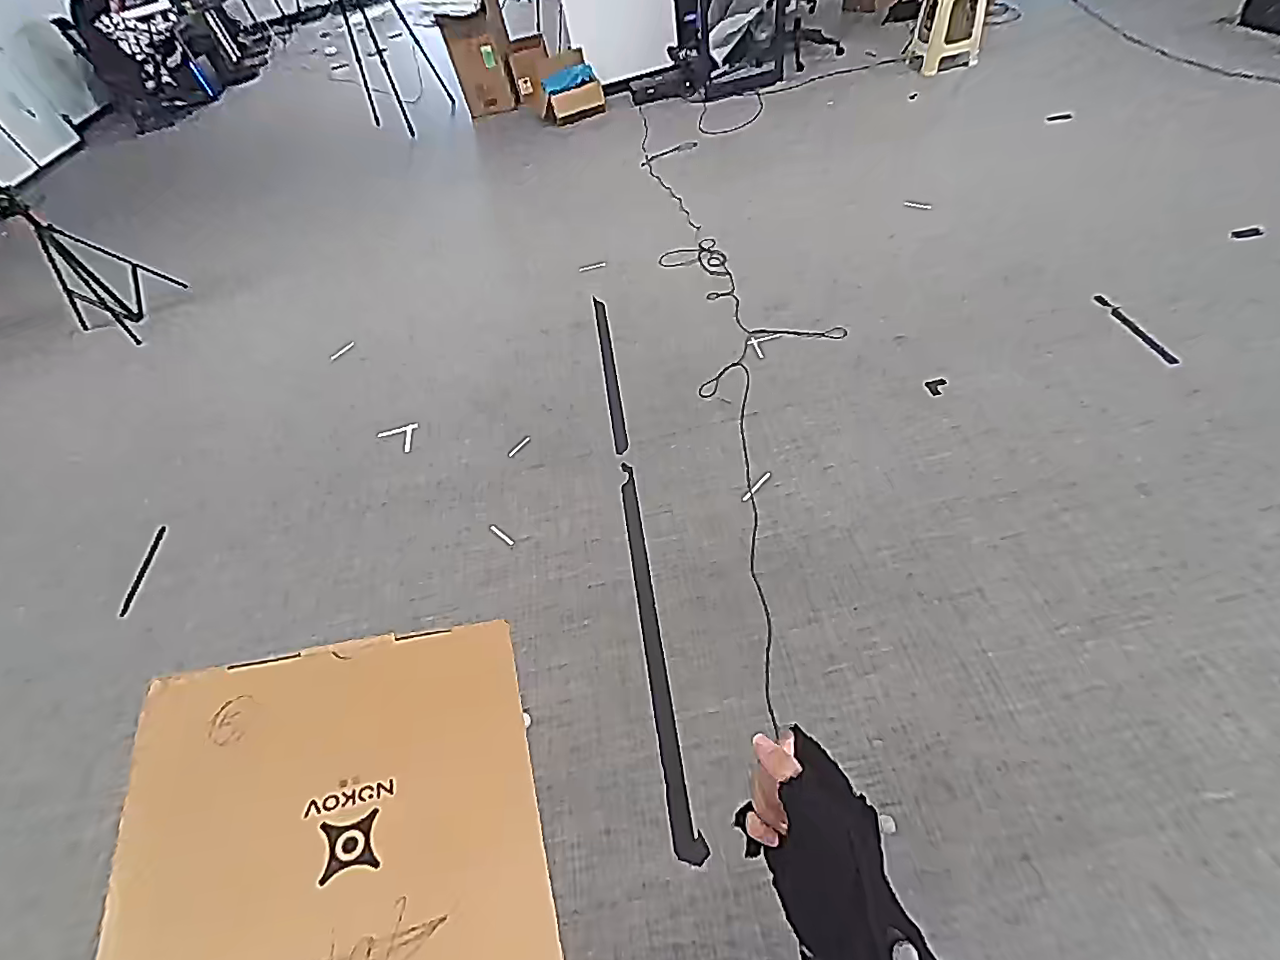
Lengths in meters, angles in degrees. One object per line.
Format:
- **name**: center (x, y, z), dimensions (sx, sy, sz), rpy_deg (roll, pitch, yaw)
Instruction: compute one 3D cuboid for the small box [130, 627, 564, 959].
- **small box**: center (-0.153, 0.209, 0.314), dimensions (0.168, 0.176, 0.179), rpy_deg (-4, 56, -23)
